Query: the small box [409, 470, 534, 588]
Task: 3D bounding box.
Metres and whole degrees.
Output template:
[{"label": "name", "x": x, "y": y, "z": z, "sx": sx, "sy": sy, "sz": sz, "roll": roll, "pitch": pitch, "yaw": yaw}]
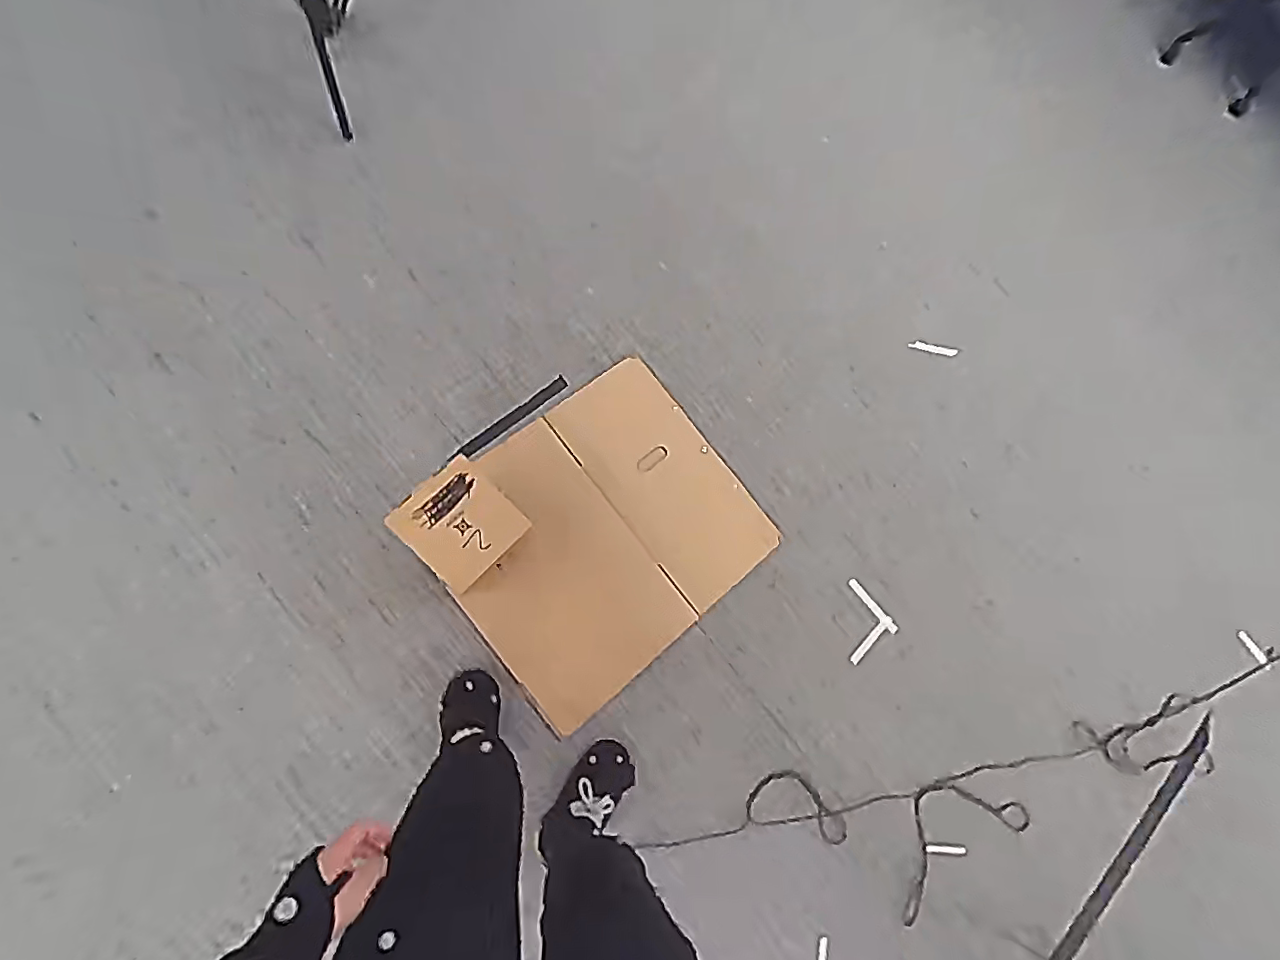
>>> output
[{"label": "small box", "x": -0.341, "y": 0.110, "z": 1.122, "sx": 0.179, "sy": 0.176, "sz": 0.168, "roll": 42, "pitch": 74, "yaw": -1}]
